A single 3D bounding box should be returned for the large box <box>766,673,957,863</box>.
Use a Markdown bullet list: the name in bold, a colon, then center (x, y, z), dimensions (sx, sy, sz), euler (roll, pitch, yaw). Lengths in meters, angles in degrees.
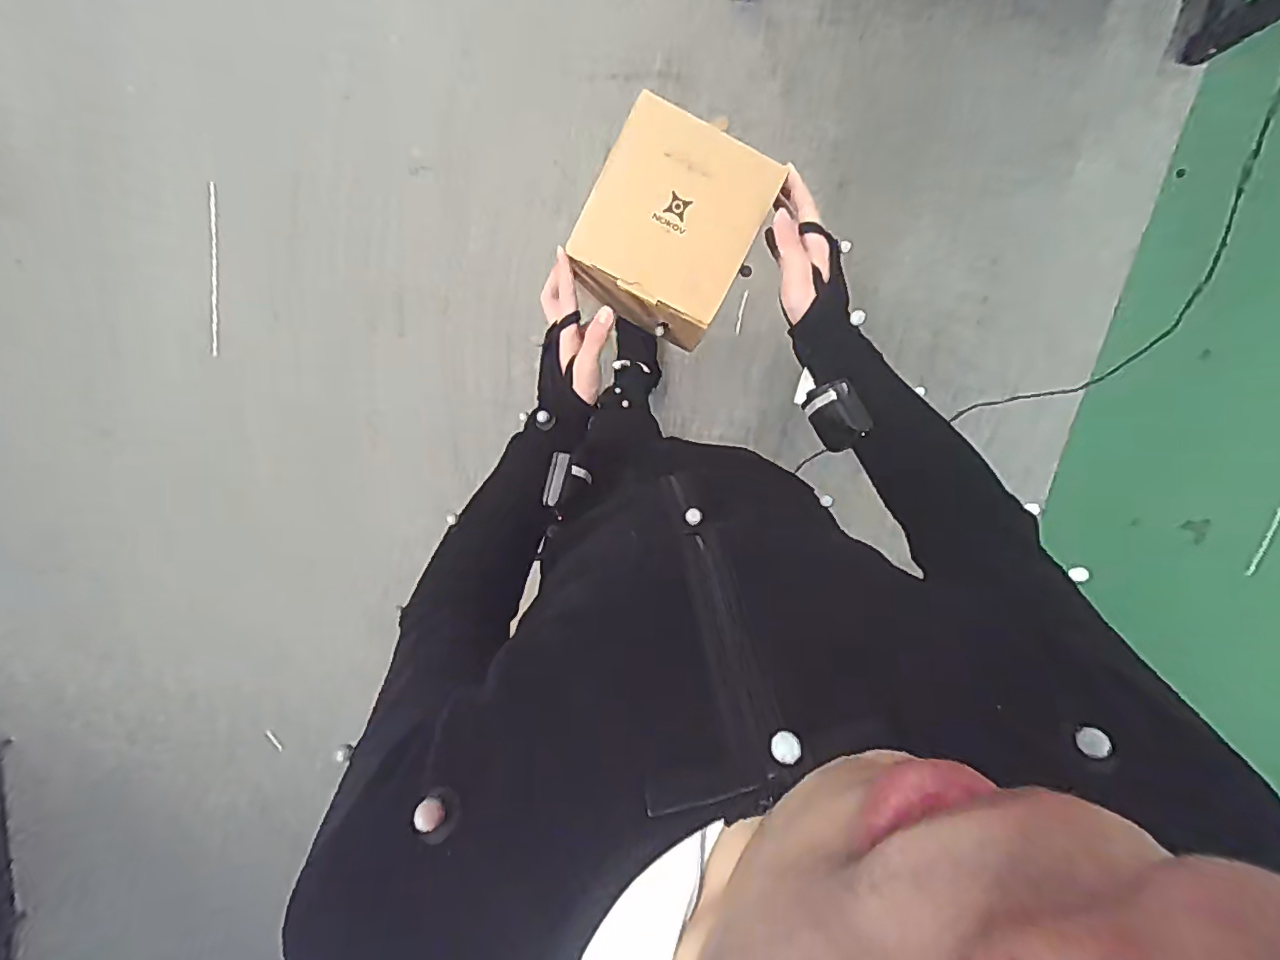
- **large box**: center (0.648, 0.854, 1.640), dimensions (0.408, 0.320, 0.320), euler (-21, 102, 5)
